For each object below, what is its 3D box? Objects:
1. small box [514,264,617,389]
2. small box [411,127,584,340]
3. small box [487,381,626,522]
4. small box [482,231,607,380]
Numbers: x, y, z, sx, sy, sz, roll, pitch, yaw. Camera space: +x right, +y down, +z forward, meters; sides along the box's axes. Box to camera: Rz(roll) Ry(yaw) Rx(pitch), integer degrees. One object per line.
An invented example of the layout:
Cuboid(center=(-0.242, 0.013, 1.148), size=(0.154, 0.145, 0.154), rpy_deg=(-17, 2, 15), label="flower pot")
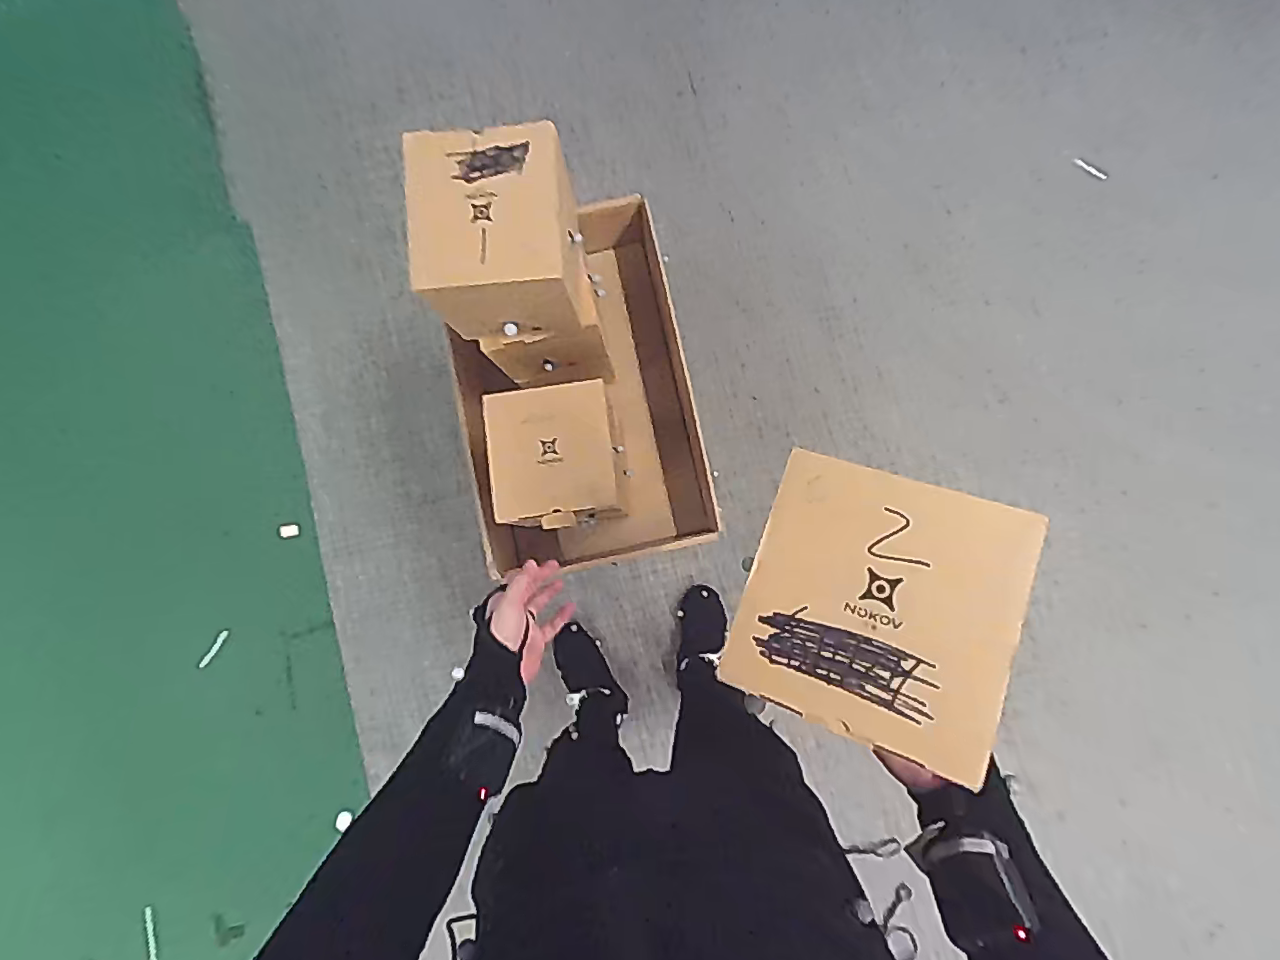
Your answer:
Cuboid(center=(-0.144, -0.260, 0.989), size=(0.168, 0.176, 0.179), rpy_deg=(-13, 85, 2), label="small box")
Cuboid(center=(-0.164, -0.289, 0.664), size=(0.168, 0.176, 0.179), rpy_deg=(-4, 86, 2), label="small box")
Cuboid(center=(-0.114, -0.031, 0.799), size=(0.168, 0.176, 0.179), rpy_deg=(-7, 83, 1), label="small box")
Cuboid(center=(-0.152, -0.272, 0.828), size=(0.168, 0.176, 0.179), rpy_deg=(-13, 86, 1), label="small box")
